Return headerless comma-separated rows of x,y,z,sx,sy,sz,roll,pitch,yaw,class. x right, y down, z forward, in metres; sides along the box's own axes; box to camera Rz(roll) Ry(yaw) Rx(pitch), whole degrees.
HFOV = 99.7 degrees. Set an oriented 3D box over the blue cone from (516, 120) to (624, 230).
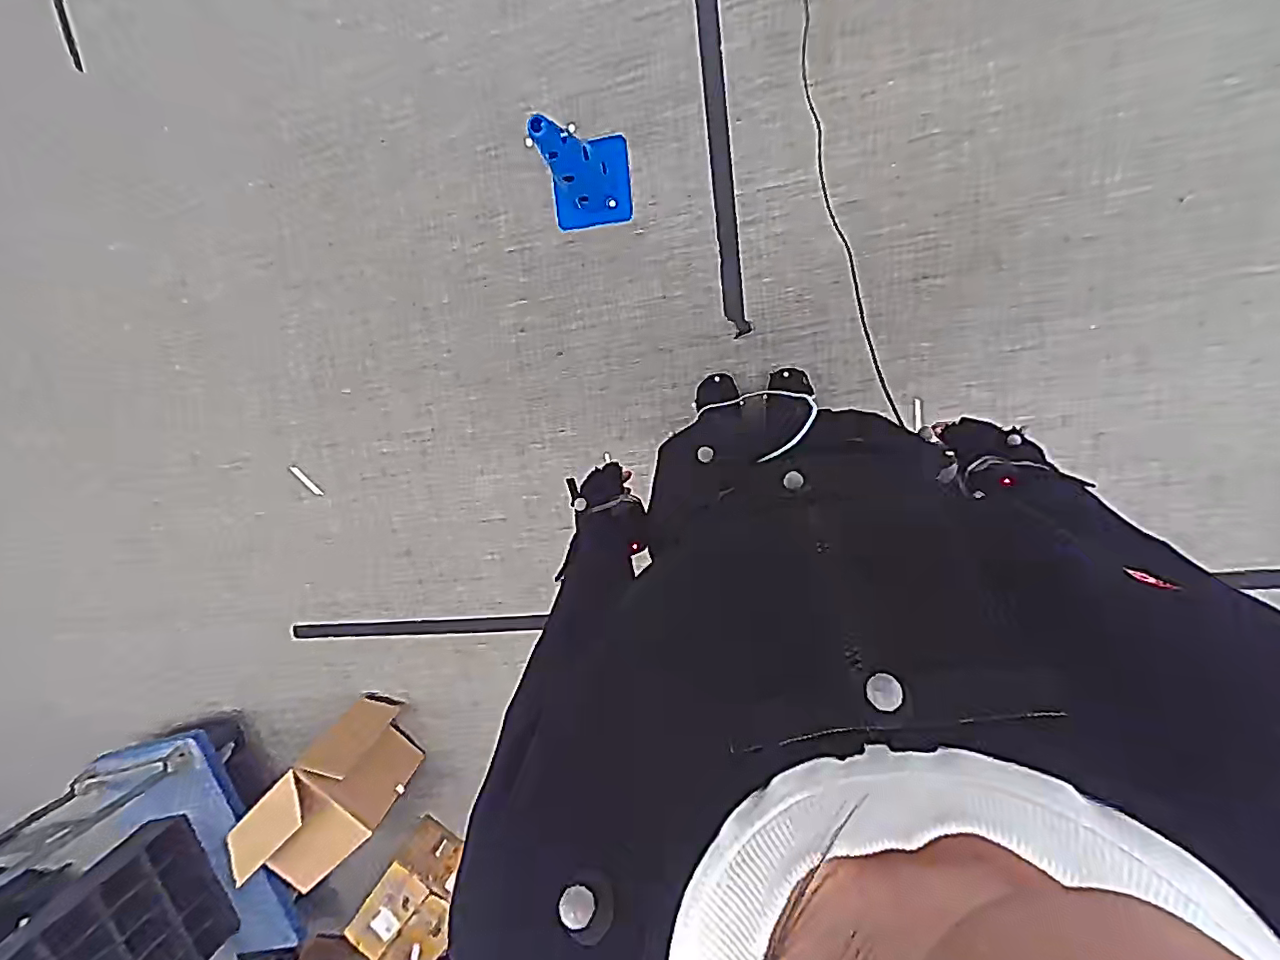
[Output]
-0.171,-0.709,1.208,0.192,0.380,0.193,-1,101,13,blue cone
